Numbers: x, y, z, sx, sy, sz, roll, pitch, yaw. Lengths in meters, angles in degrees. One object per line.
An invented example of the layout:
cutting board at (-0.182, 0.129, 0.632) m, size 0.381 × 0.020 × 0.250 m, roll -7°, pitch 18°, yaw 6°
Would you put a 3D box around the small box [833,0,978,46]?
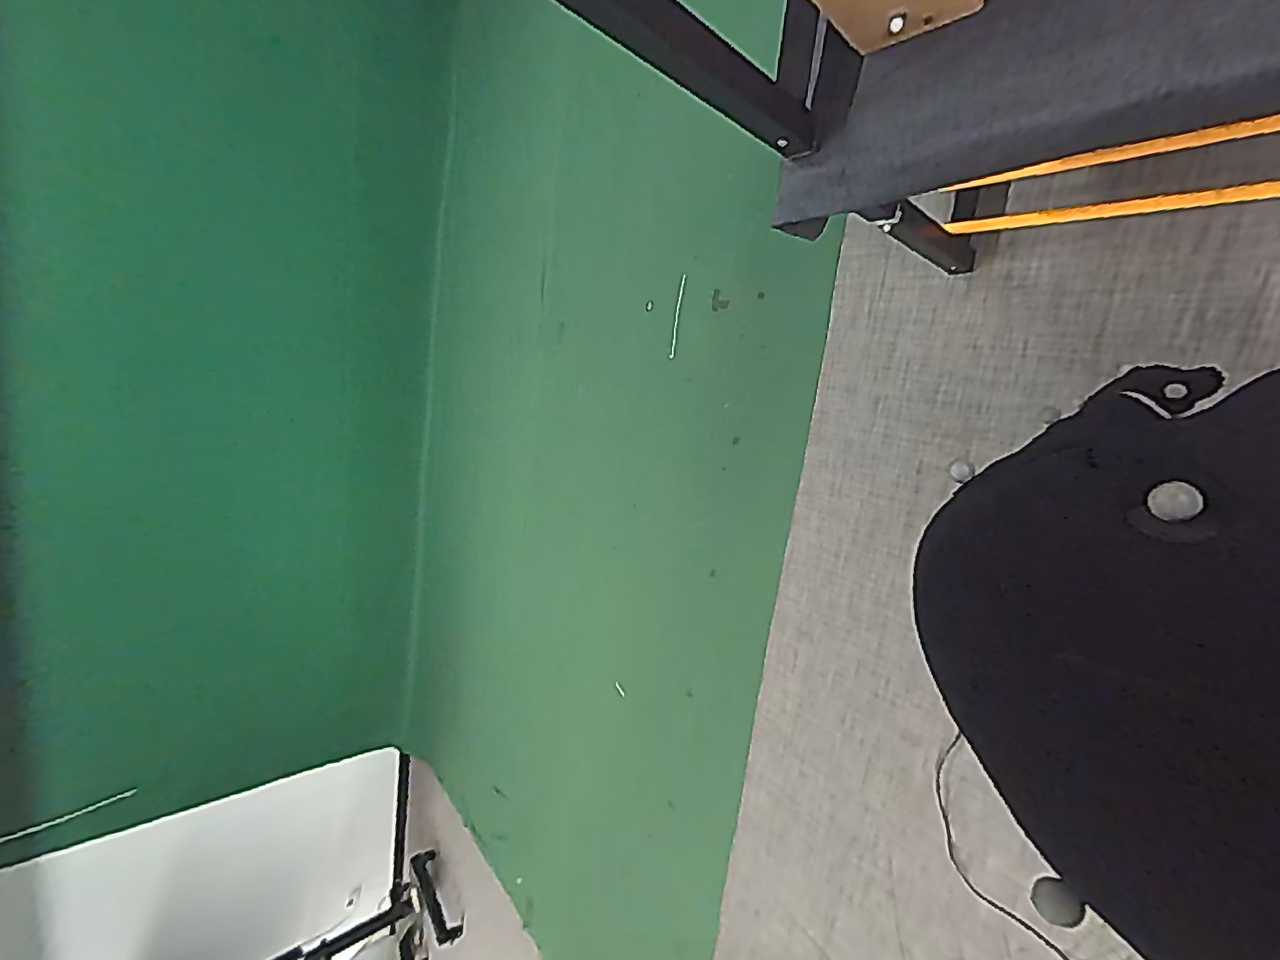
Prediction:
small box at (0.340, -0.714, 0.687) m, size 0.168 × 0.176 × 0.179 m, roll 17°, pitch 104°, yaw 46°
